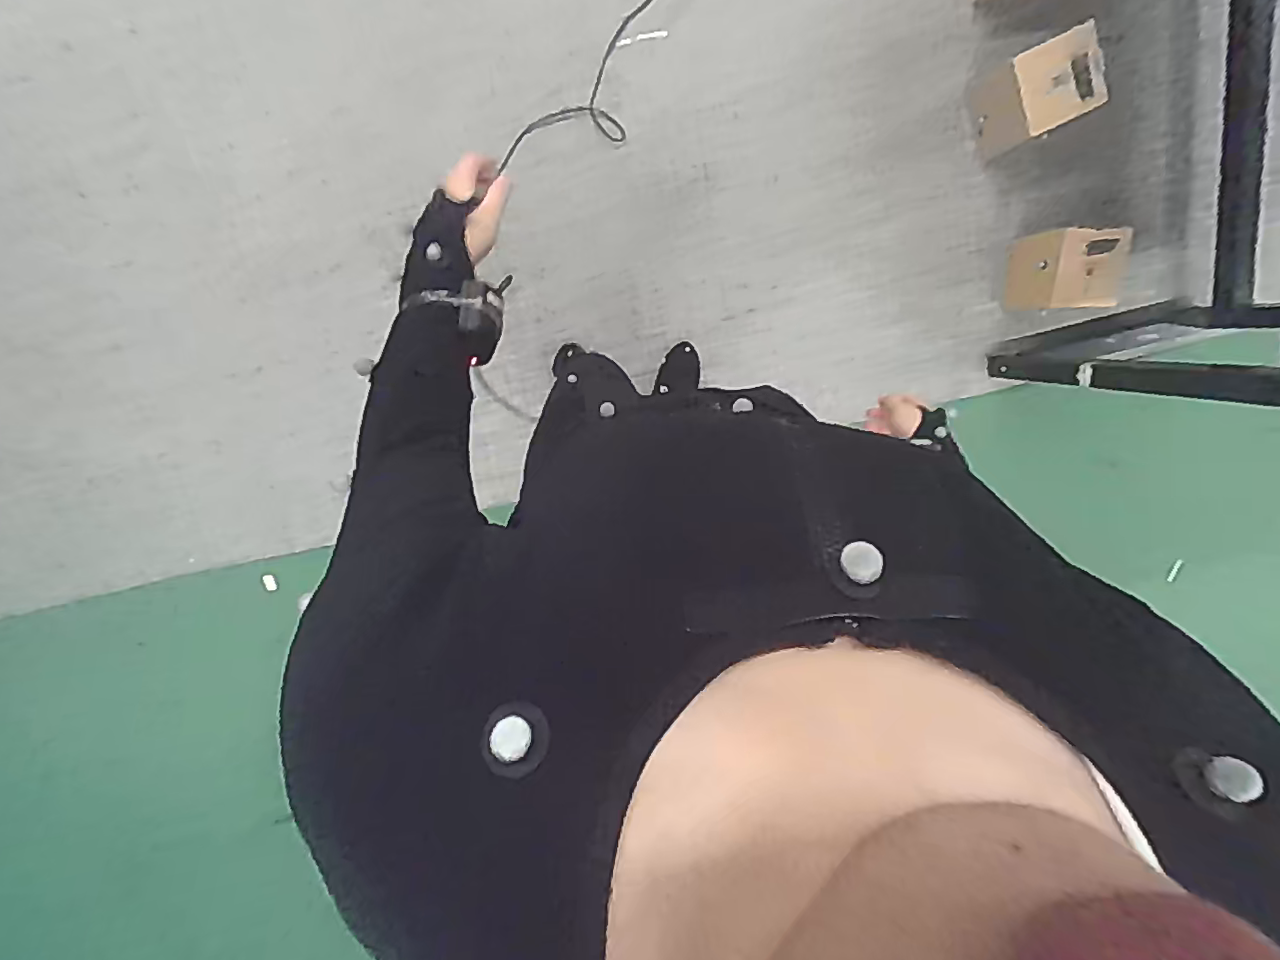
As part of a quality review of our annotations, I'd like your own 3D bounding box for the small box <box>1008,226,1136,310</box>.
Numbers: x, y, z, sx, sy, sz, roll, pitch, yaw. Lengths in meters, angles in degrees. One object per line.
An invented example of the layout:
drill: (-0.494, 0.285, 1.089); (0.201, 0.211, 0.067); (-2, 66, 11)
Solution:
small box: (1.041, -0.511, 1.321); (0.168, 0.176, 0.179); (-1, 107, -2)
